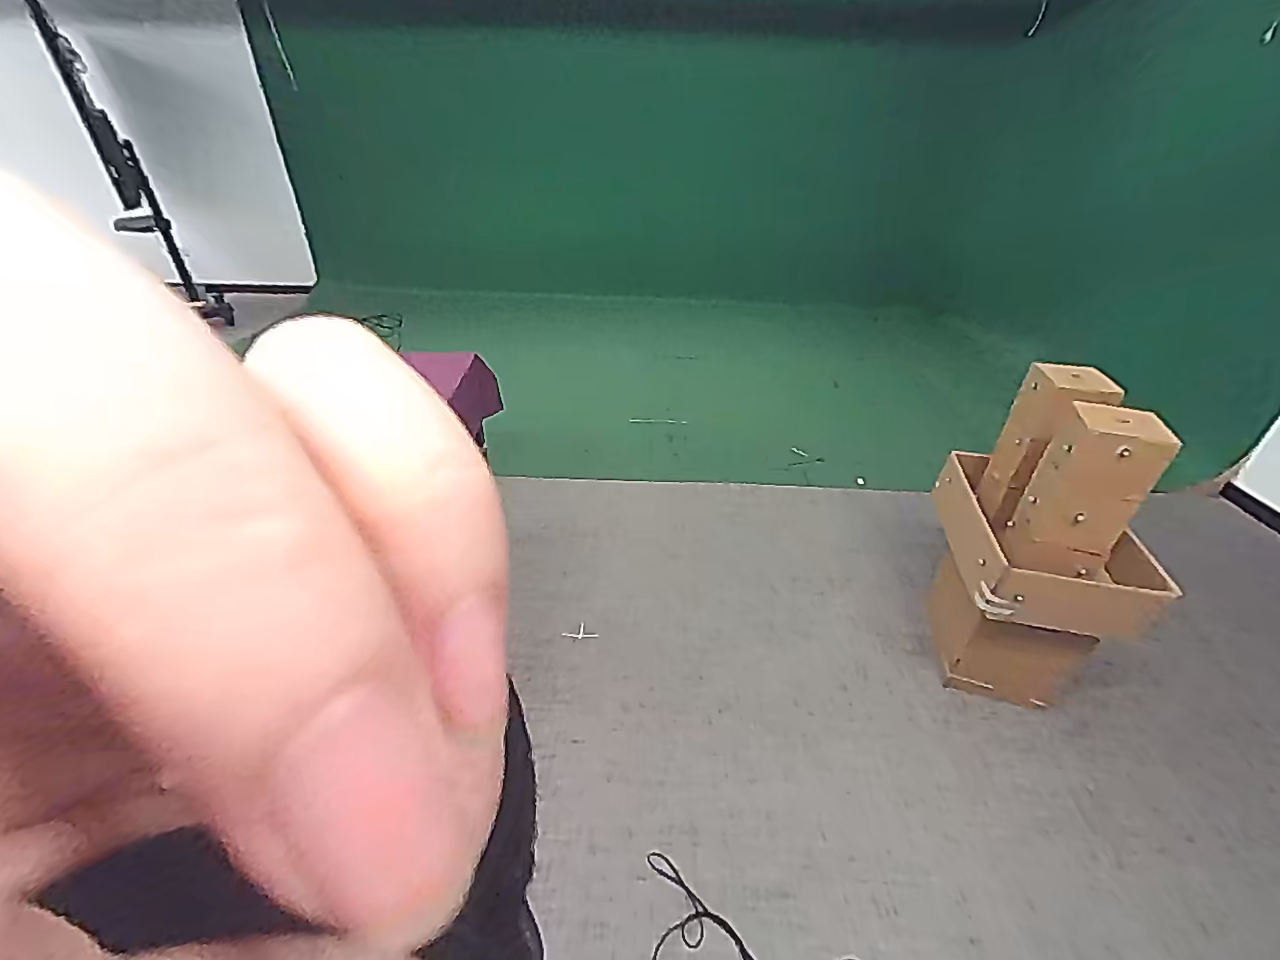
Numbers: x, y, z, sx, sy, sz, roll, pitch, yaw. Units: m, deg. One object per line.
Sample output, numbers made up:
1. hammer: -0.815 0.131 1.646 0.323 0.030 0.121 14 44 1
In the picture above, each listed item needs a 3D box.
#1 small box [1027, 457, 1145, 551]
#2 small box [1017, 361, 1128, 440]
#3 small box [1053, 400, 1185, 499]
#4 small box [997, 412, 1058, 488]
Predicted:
1. small box: 1.140 0.063 1.403 0.179 0.176 0.168 11 35 16
2. small box: 1.214 -0.222 1.536 0.168 0.176 0.179 6 36 10
3. small box: 1.142 -0.074 1.313 0.179 0.176 0.168 13 36 17
4. small box: 1.216 -0.086 1.630 0.168 0.176 0.179 7 36 10
